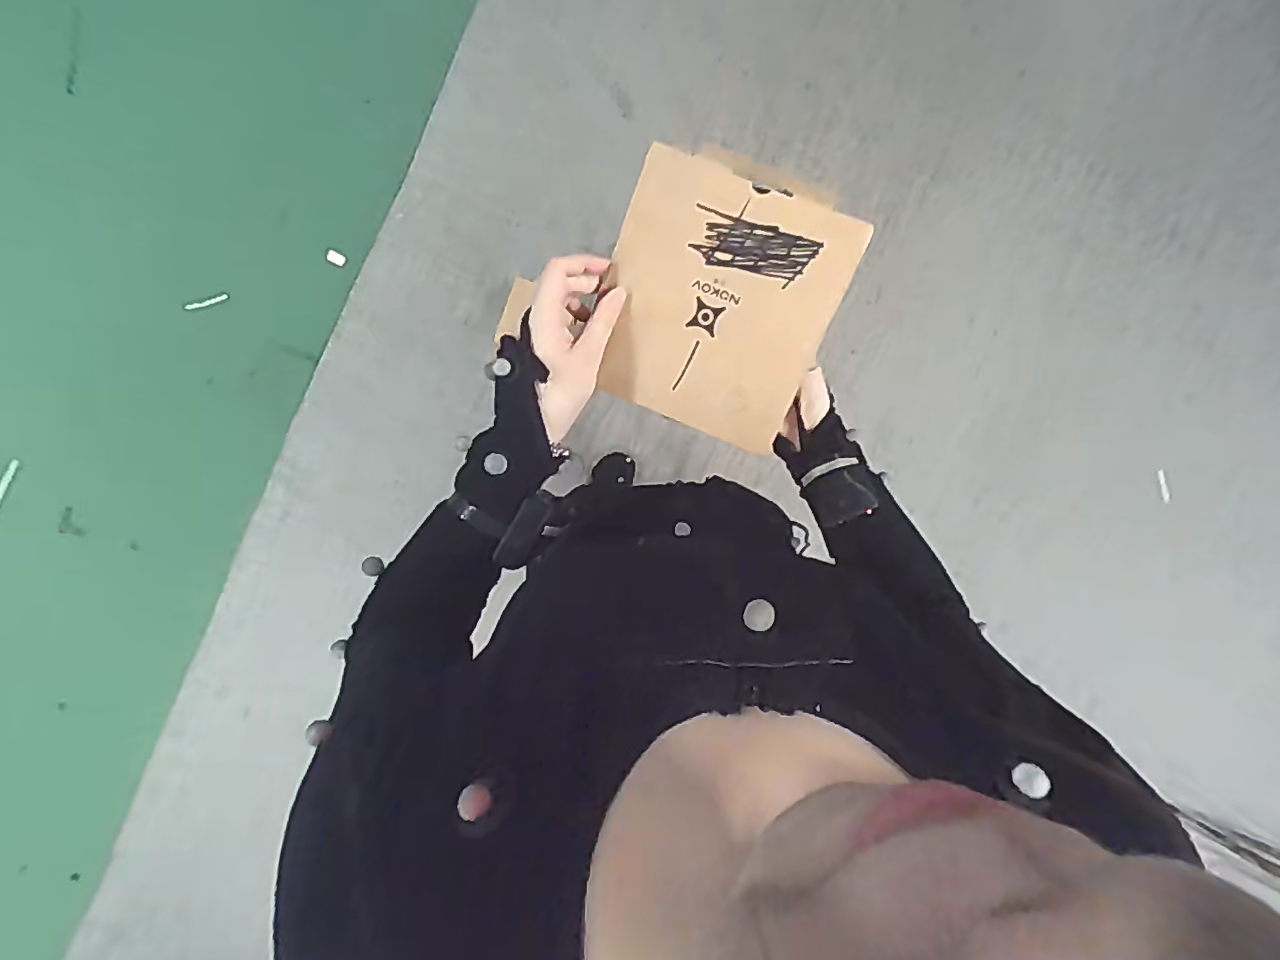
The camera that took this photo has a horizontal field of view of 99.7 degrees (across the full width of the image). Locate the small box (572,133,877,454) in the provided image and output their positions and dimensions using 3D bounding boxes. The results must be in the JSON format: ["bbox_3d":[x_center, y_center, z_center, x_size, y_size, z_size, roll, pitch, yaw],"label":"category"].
[{"bbox_3d":[0.064,-0.144,0.459,0.168,0.176,0.179,23,105,4],"label":"small box"}]

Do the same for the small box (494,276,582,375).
[{"bbox_3d":[-0.255,-0.390,1.395,0.168,0.176,0.179,20,91,-1],"label":"small box"}]
